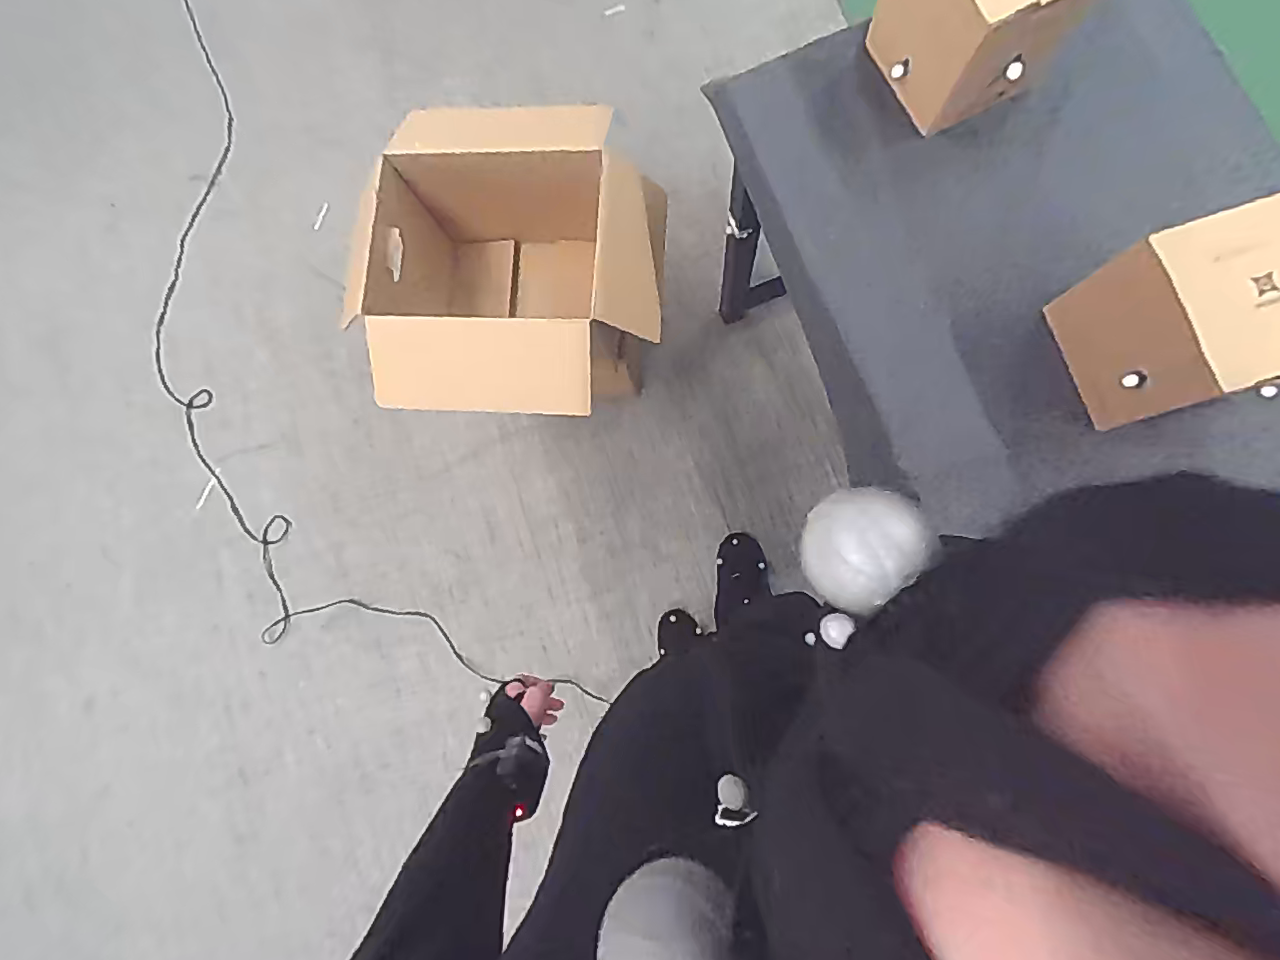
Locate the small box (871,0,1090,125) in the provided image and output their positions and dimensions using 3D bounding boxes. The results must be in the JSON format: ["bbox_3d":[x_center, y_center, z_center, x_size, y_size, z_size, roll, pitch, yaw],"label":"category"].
[{"bbox_3d":[0.424,-0.590,0.676,0.168,0.176,0.179,-25,82,2],"label":"small box"}]

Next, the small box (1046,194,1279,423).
[{"bbox_3d":[0.614,-0.174,0.603,0.168,0.176,0.179,-17,80,2],"label":"small box"}]
